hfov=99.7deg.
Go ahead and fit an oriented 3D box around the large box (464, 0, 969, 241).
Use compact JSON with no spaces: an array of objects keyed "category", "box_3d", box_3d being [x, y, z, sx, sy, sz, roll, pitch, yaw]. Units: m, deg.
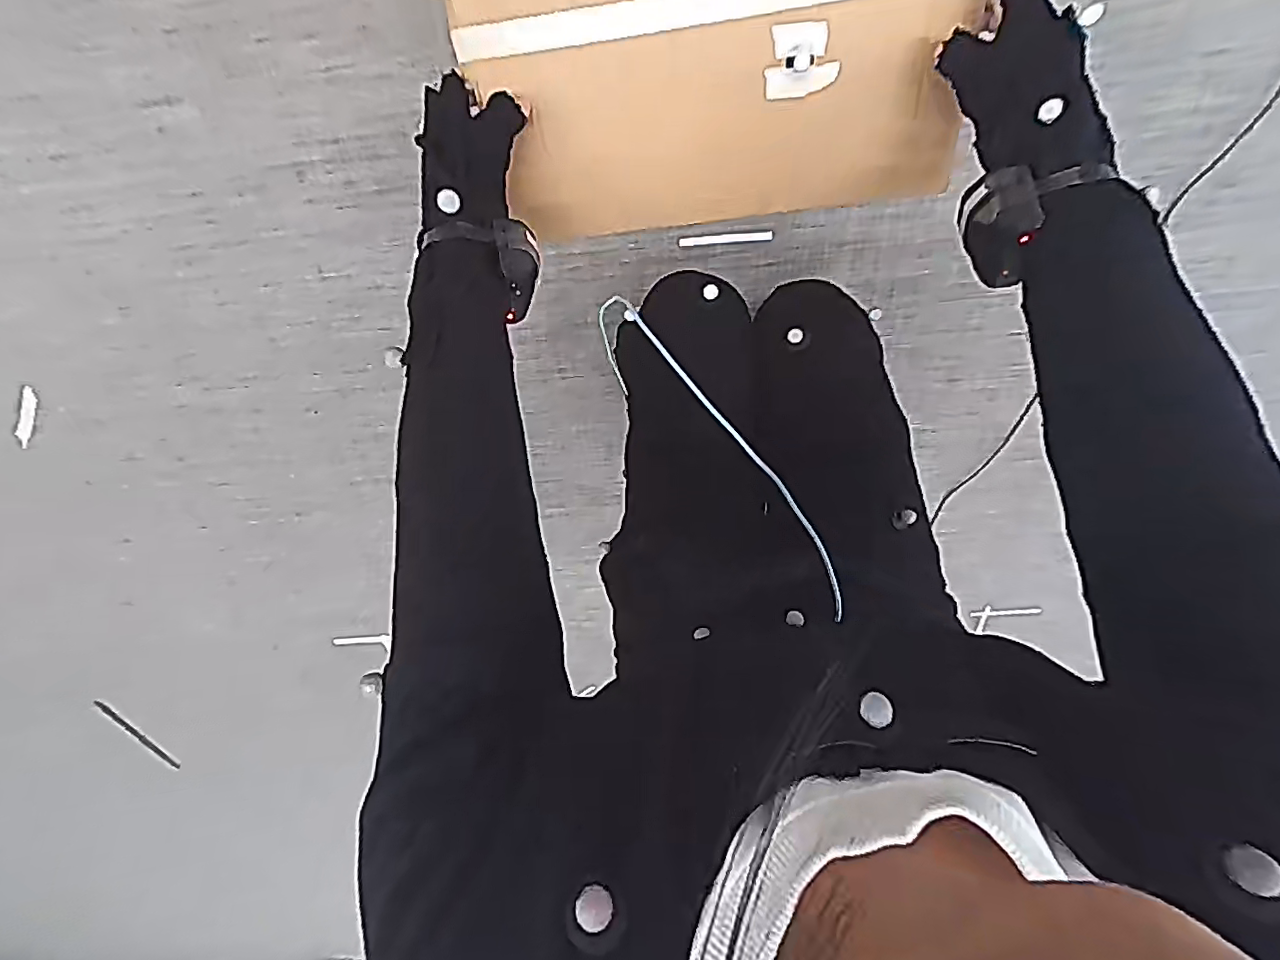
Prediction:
[{"category":"large box","box_3d":[0.061,-0.467,0.548,0.408,0.320,0.320,-6,127,5]}]
